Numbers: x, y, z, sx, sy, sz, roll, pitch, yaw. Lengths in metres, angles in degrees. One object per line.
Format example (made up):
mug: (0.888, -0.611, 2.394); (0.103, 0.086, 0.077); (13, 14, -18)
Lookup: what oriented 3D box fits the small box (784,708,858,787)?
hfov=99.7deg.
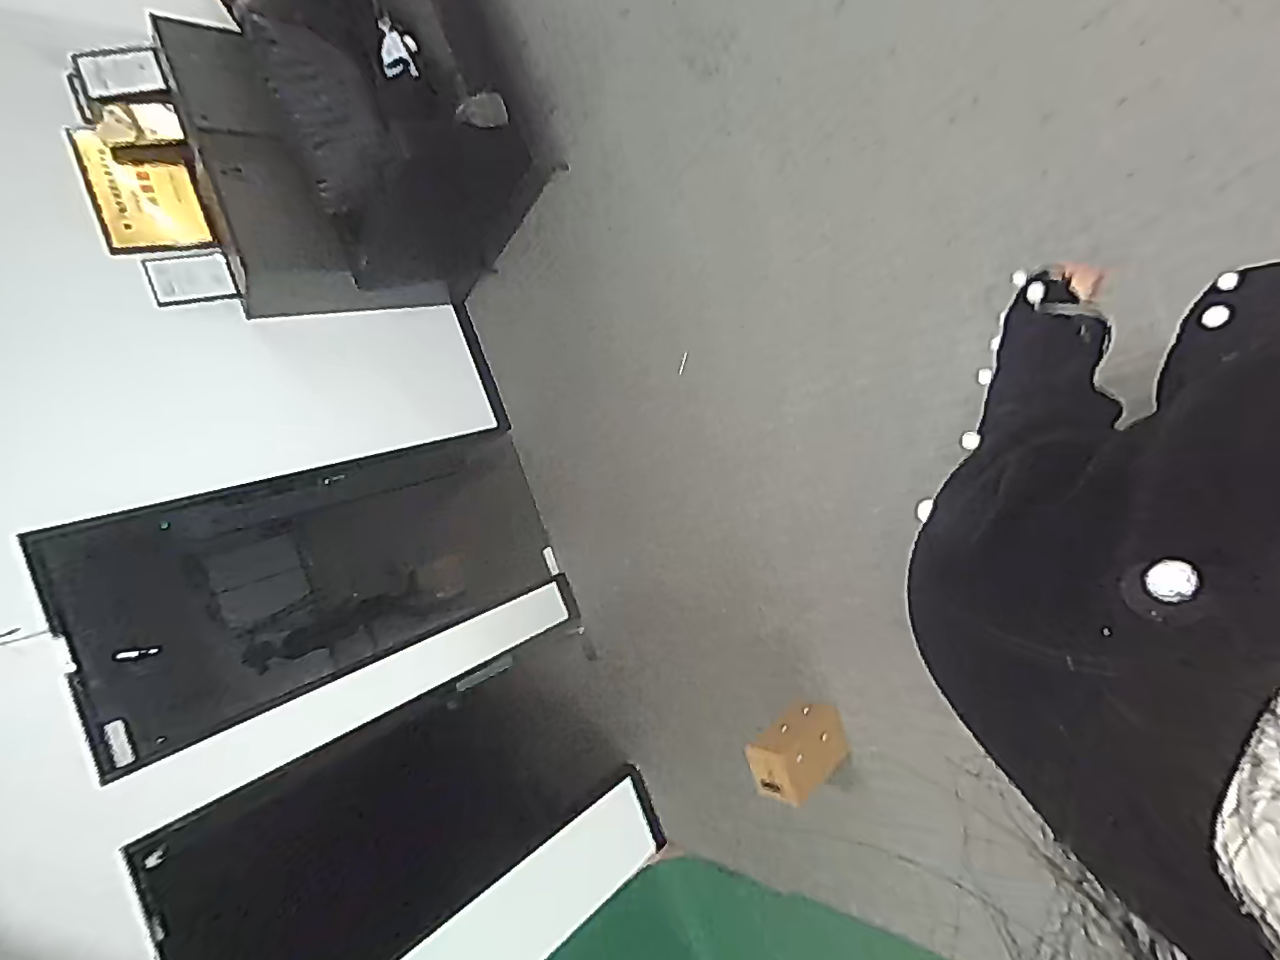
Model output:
small box: (0.649, 0.947, 1.935); (0.168, 0.176, 0.179); (-14, 94, 52)
